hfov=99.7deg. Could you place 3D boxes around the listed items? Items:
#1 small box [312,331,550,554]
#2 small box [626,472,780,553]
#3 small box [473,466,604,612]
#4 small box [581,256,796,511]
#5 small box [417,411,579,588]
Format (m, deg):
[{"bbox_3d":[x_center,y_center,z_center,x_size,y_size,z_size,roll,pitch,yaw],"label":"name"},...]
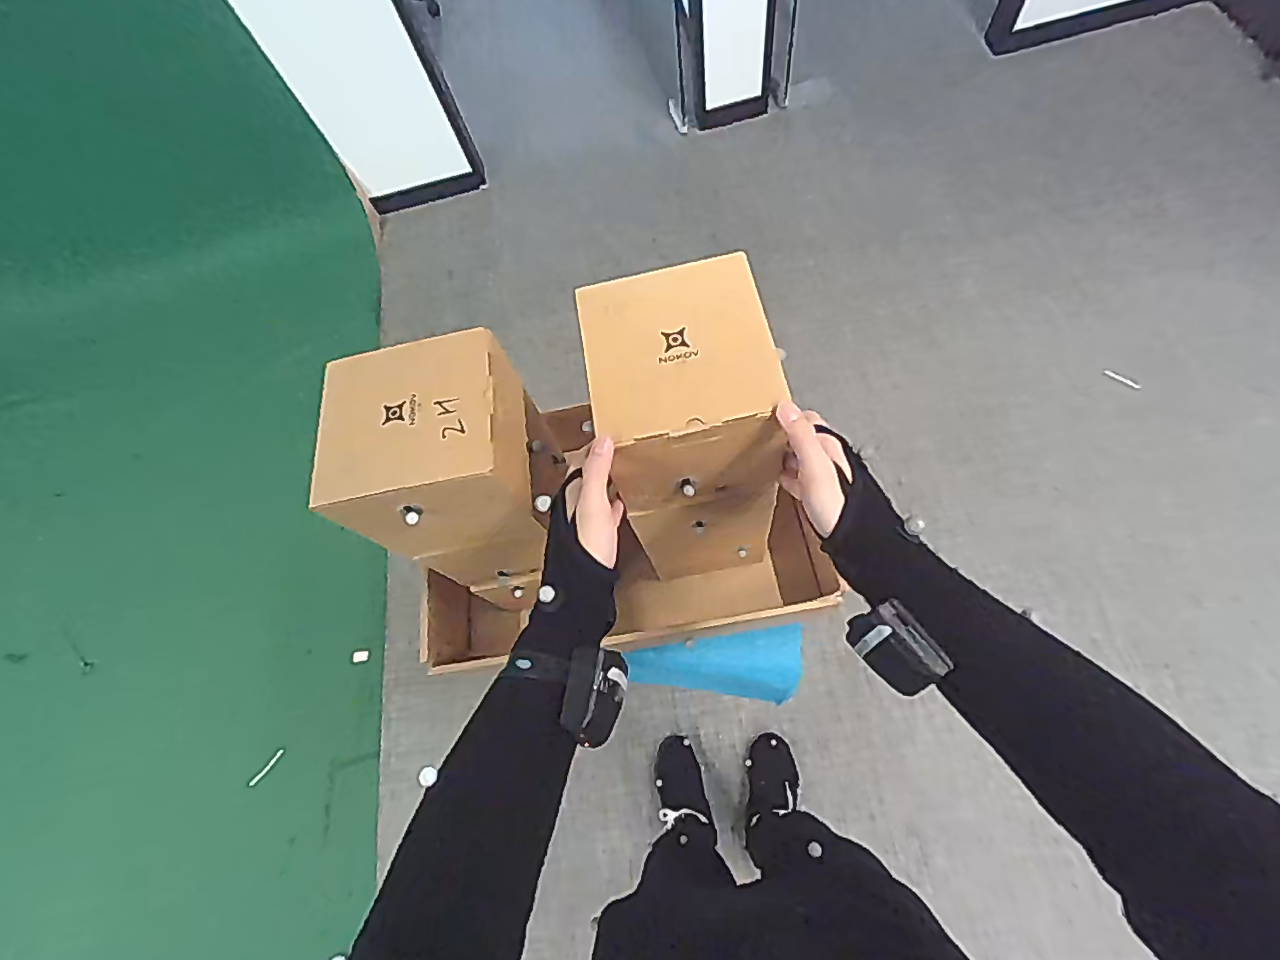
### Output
[{"bbox_3d":[-0.210,-0.029,0.586,0.179,0.176,0.168,-10,65,5],"label":"small box"},{"bbox_3d":[0.073,-0.015,0.712,0.179,0.176,0.168,-12,65,6],"label":"small box"},{"bbox_3d":[-0.160,0.102,0.882,0.168,0.176,0.179,-11,65,5],"label":"small box"},{"bbox_3d":[0.044,-0.087,0.548,0.168,0.176,0.179,-11,67,3],"label":"small box"},{"bbox_3d":[-0.187,0.033,0.737,0.168,0.176,0.179,-11,65,4],"label":"small box"}]
